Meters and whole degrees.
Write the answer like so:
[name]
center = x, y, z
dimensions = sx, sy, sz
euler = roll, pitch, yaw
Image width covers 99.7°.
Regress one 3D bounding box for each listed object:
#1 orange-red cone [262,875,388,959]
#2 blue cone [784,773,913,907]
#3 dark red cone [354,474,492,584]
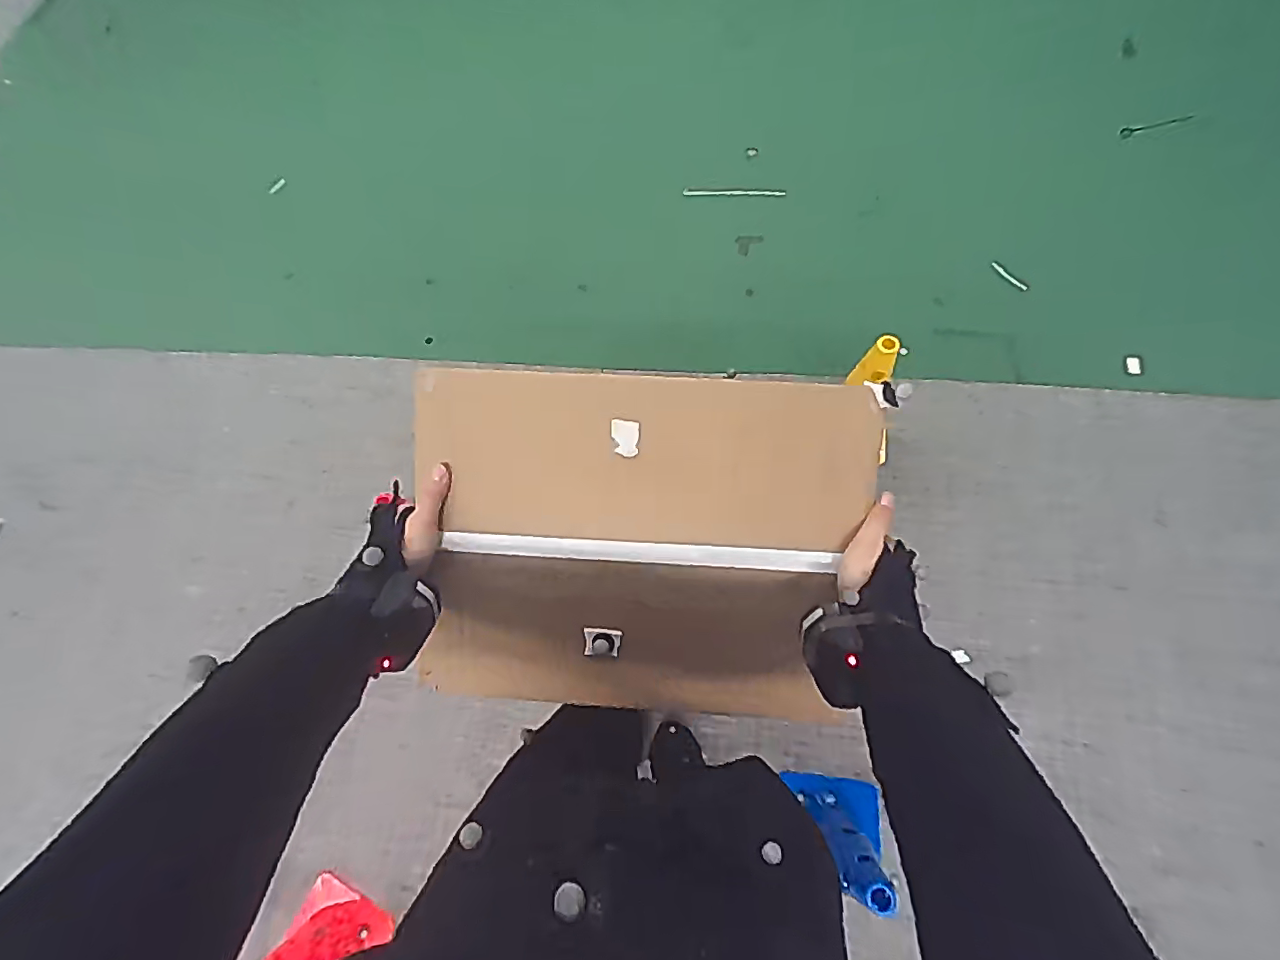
[orange-red cone]
center = -0.640, 0.864, 0.913
dimensions = 0.199, 0.360, 0.198
euler = 23, 72, 17
[blue cone]
center = 0.359, 0.621, 0.898
dimensions = 0.192, 0.380, 0.193
euler = 4, 69, 9
[dark red cone]
center = -0.487, 0.086, 1.179
dimensions = 0.202, 0.394, 0.201
euler = -3, 65, 6
